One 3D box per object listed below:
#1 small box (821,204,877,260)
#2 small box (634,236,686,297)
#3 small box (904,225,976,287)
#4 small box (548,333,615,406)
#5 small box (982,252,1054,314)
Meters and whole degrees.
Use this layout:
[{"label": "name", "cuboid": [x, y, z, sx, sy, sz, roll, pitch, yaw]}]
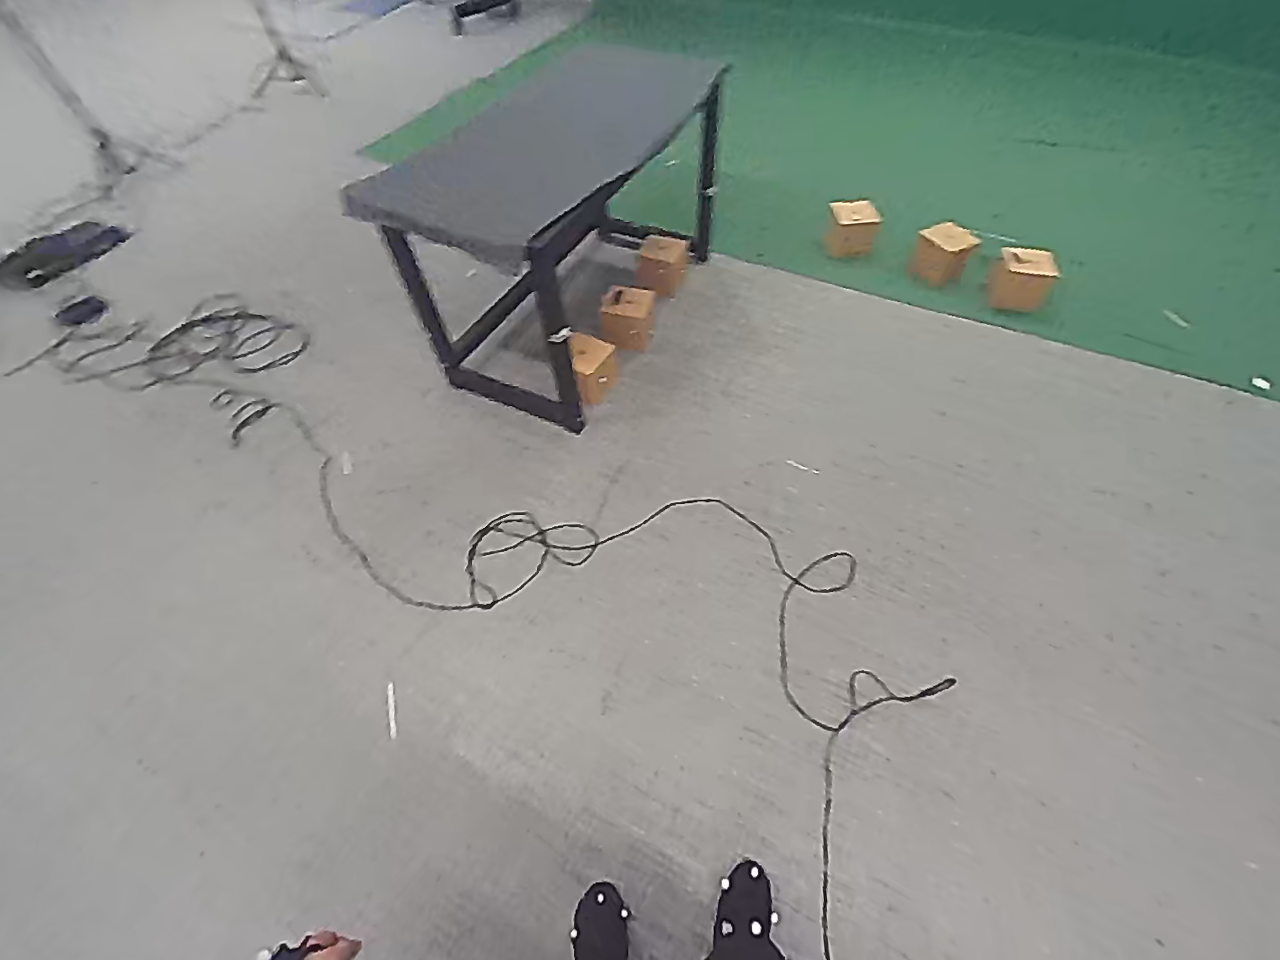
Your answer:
[{"label": "small box", "cuboid": [0.930, -1.109, 2.421, 0.168, 0.176, 0.179, -5, 54, -1]}, {"label": "small box", "cuboid": [0.087, -0.909, 2.310, 0.179, 0.176, 0.168, 18, 57, 14]}, {"label": "small box", "cuboid": [1.264, -0.941, 2.291, 0.168, 0.176, 0.179, -24, 57, -15]}, {"label": "small box", "cuboid": [-0.206, -0.397, 1.971, 0.179, 0.176, 0.168, 26, 60, 19]}, {"label": "small box", "cuboid": [1.509, -0.792, 2.177, 0.179, 0.176, 0.168, 9, 56, 7]}]
